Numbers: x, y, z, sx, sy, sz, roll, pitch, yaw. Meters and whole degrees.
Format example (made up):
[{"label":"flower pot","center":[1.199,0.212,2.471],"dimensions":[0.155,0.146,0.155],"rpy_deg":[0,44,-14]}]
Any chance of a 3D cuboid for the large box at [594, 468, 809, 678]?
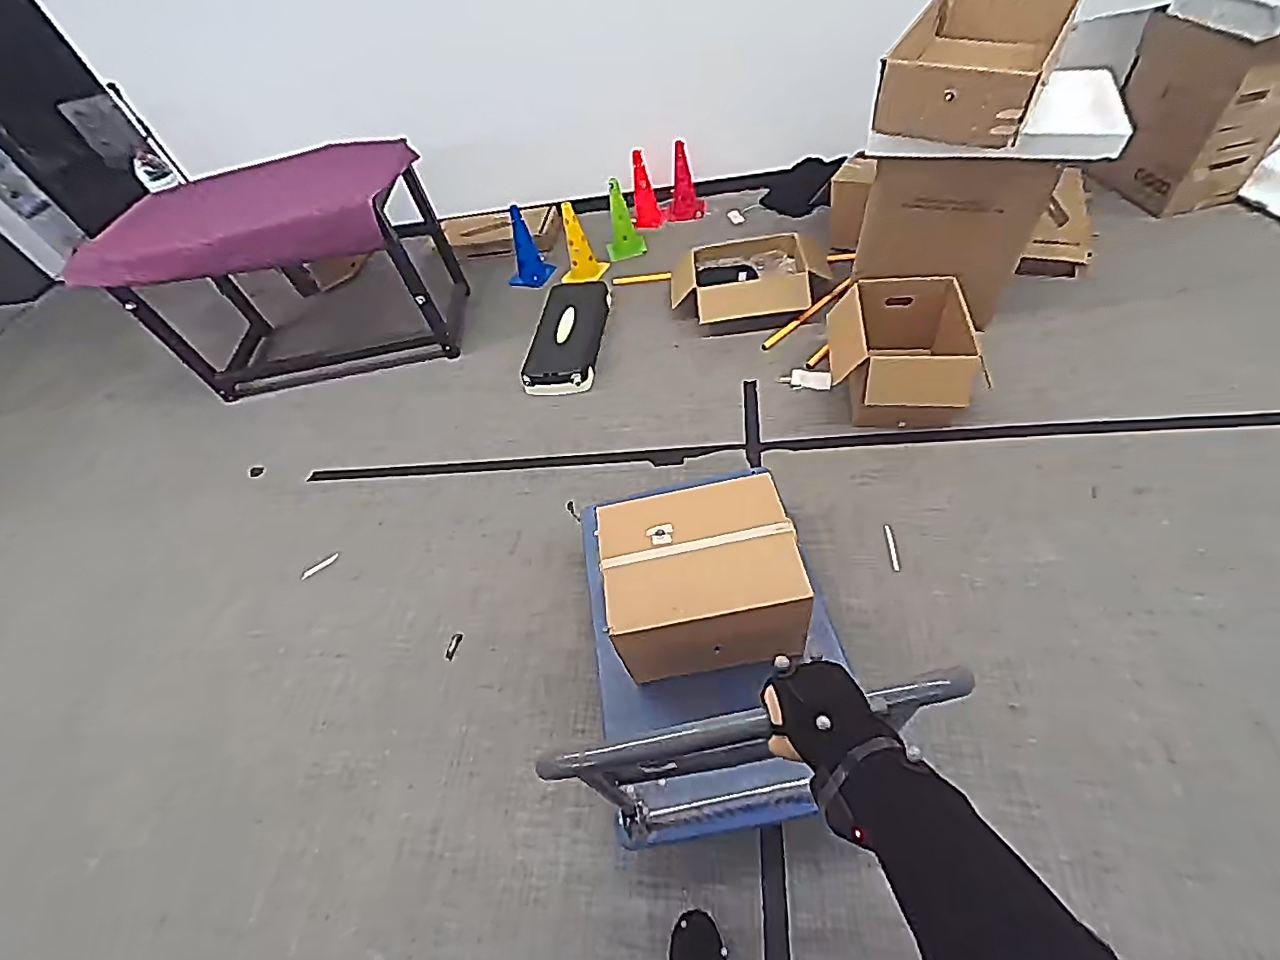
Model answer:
[{"label":"large box","center":[0.138,0.224,1.243],"dimensions":[0.408,0.320,0.320],"rpy_deg":[-13,50,4]}]
